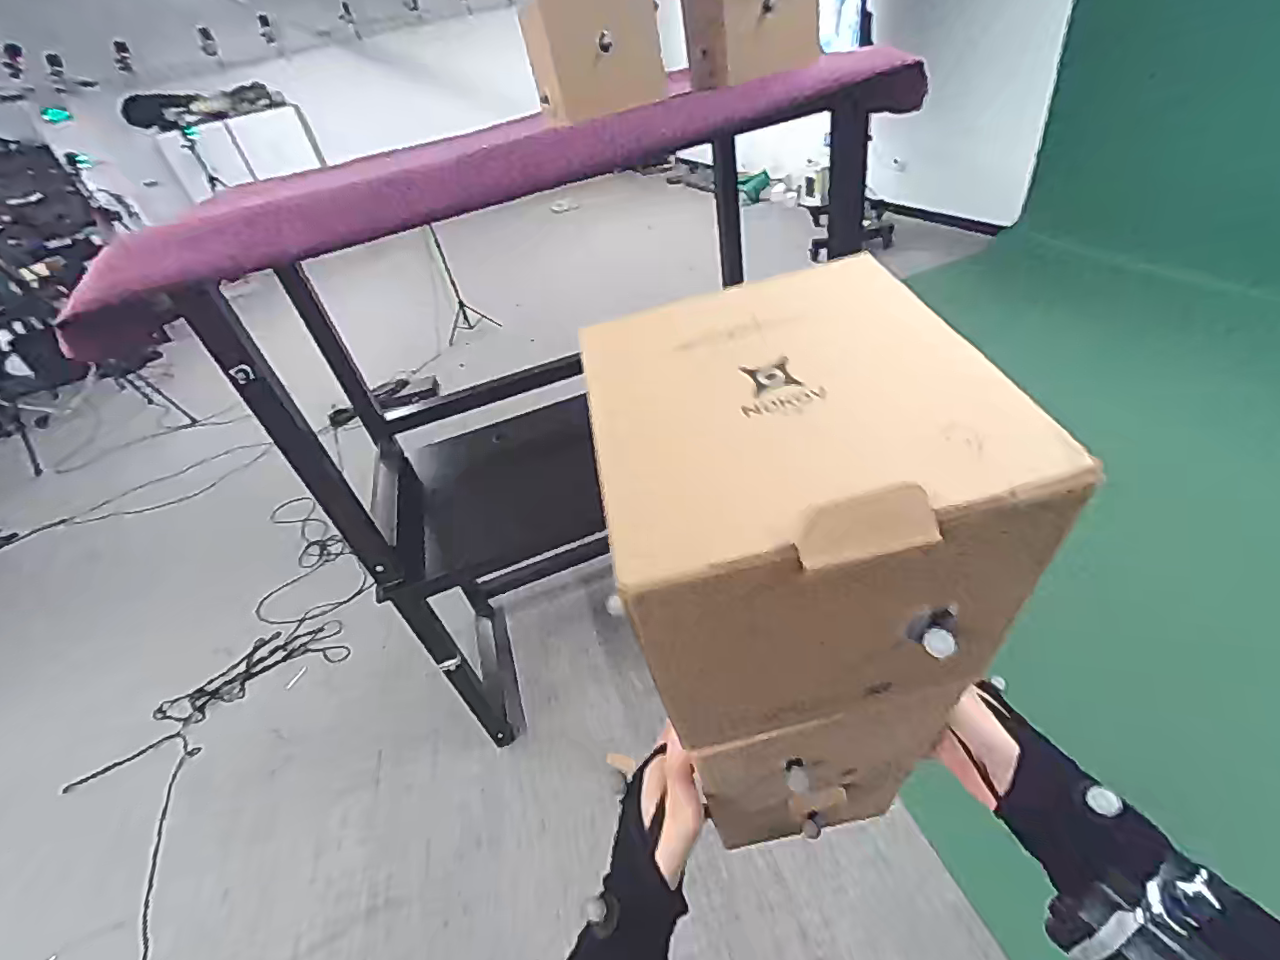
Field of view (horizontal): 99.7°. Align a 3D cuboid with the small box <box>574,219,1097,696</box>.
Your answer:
[{"bbox_3d":[0.071,-0.004,0.289,0.168,0.176,0.179,-14,46,1],"label":"small box"}]

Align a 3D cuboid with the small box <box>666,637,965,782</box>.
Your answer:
[{"bbox_3d":[0.099,0.105,0.407,0.168,0.176,0.179,-16,46,-1],"label":"small box"}]

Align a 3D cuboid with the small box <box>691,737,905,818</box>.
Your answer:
[{"bbox_3d":[0.127,0.210,0.528,0.168,0.176,0.179,-14,48,1],"label":"small box"}]

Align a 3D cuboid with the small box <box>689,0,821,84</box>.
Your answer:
[{"bbox_3d":[0.189,-0.788,0.908,0.179,0.176,0.168,-21,38,-8],"label":"small box"}]
